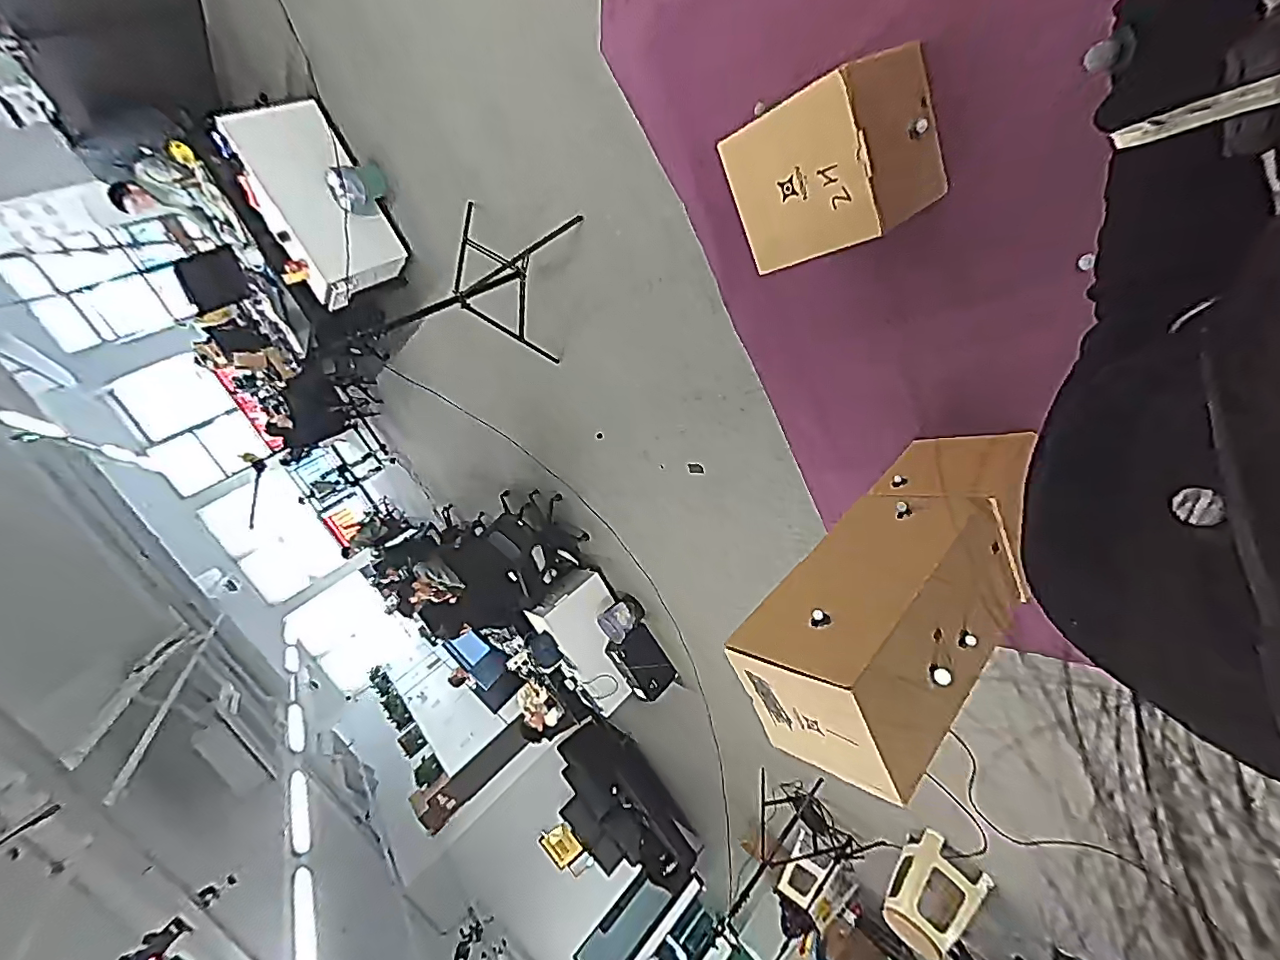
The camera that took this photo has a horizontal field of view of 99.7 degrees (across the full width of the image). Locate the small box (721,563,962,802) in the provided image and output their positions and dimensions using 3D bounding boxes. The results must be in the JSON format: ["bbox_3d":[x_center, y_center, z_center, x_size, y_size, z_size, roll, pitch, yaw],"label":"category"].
[{"bbox_3d":[0.233,0.215,0.628,0.179,0.176,0.168,-1,121,55],"label":"small box"}]

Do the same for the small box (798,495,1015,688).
[{"bbox_3d":[0.349,0.131,0.710,0.179,0.176,0.168,-1,121,57],"label":"small box"}]

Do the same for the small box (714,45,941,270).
[{"bbox_3d":[0.228,-0.381,0.656,0.179,0.176,0.168,5,127,53],"label":"small box"}]

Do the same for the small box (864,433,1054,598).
[{"bbox_3d":[0.466,0.043,0.784,0.179,0.176,0.168,-1,121,56],"label":"small box"}]
